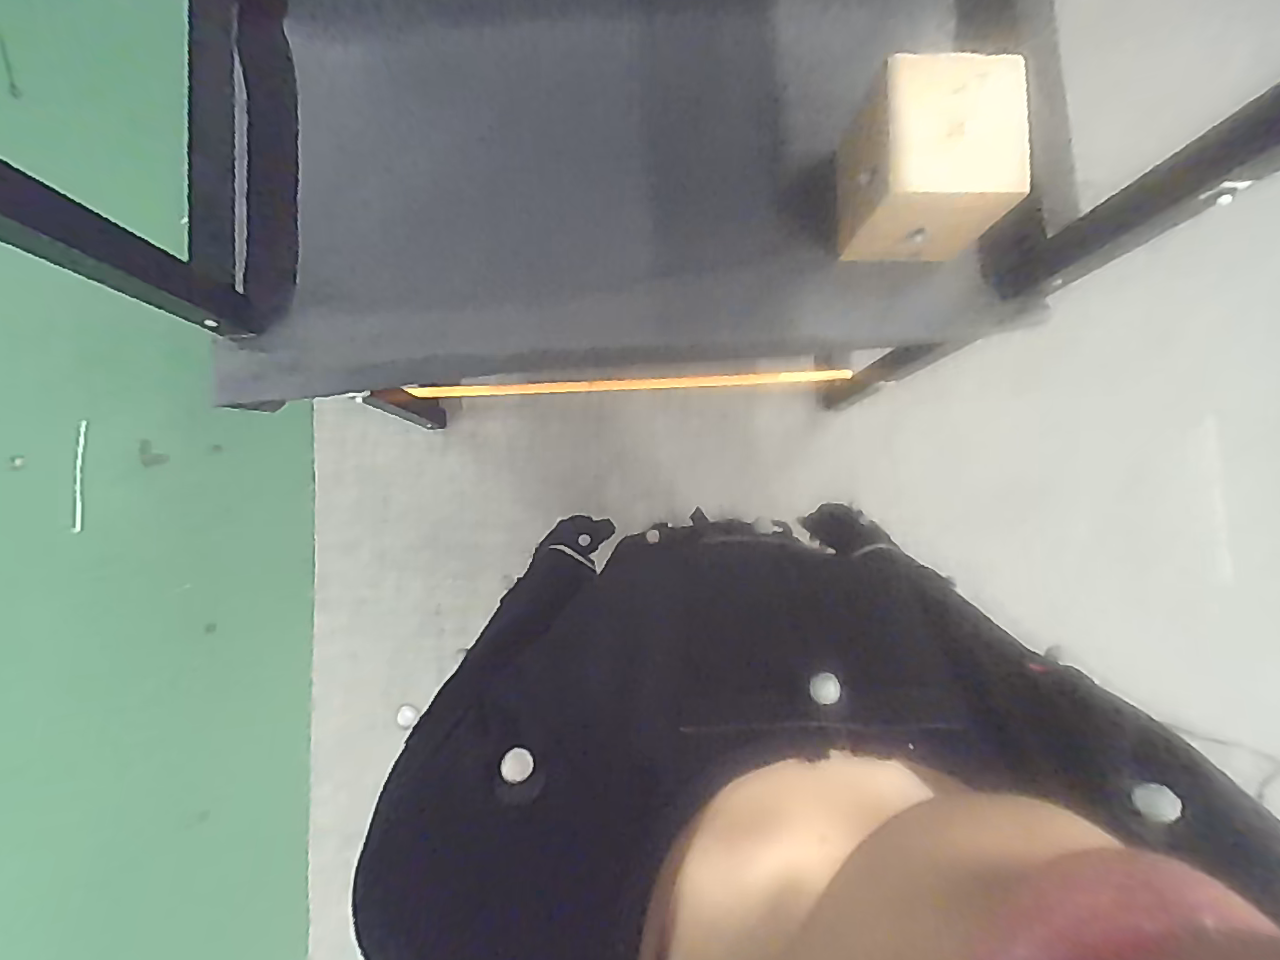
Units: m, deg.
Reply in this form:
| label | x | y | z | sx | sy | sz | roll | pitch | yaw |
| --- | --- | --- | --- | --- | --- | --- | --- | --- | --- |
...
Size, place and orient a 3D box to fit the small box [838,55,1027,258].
| label | x | y | z | sx | sy | sz | roll | pitch | yaw |
| --- | --- | --- | --- | --- | --- | --- | --- | --- | --- |
| small box | 0.374 | -0.414 | 0.718 | 0.168 | 0.176 | 0.179 | 1 | 85 | 0 |
